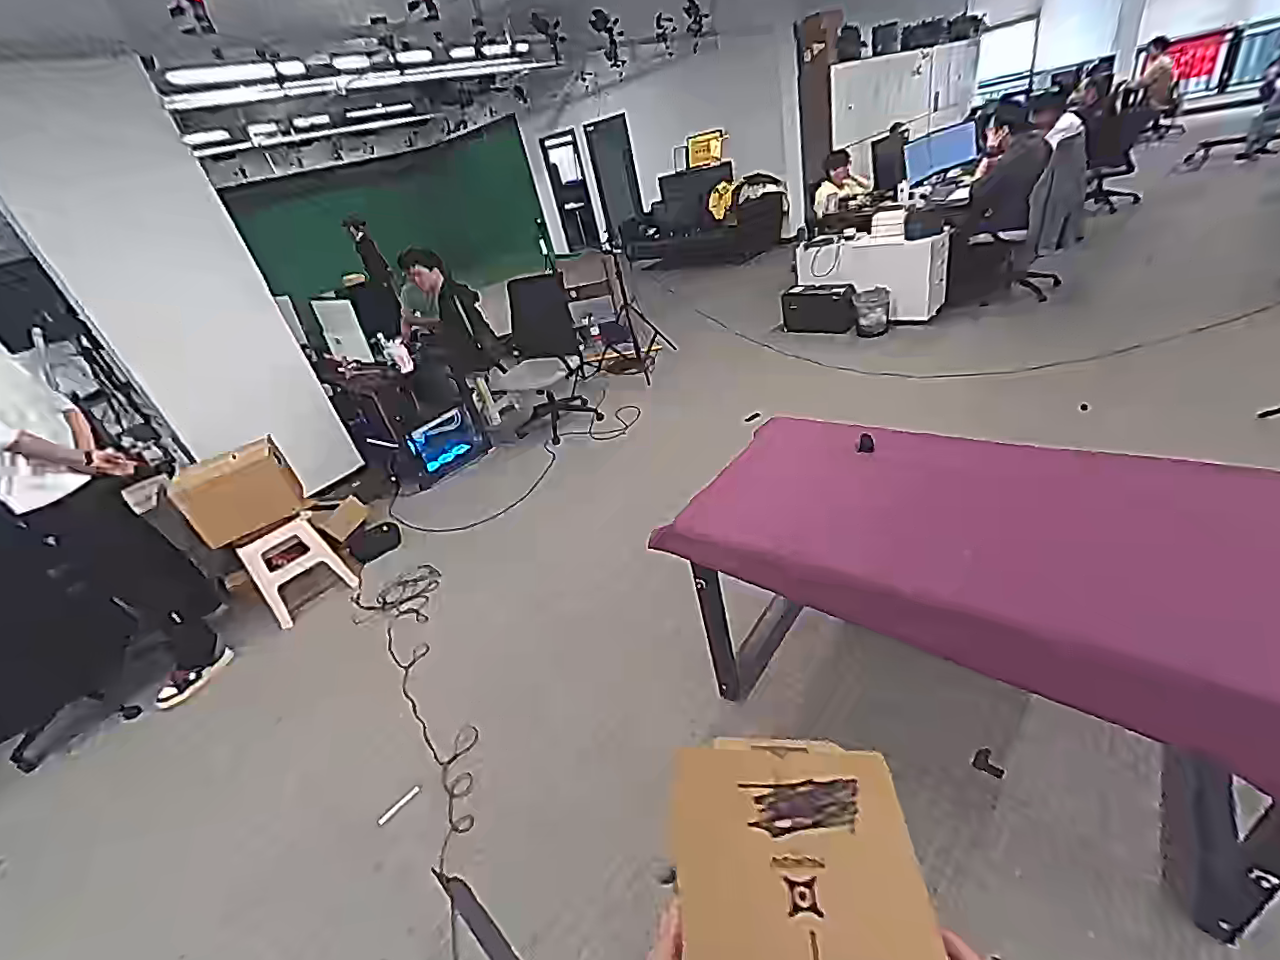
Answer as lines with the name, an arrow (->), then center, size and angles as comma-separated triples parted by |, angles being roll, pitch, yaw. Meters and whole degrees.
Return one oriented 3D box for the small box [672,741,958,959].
small box -> 0.111, 0.327, 0.409 | 0.168, 0.176, 0.179 | 2, 40, 1
